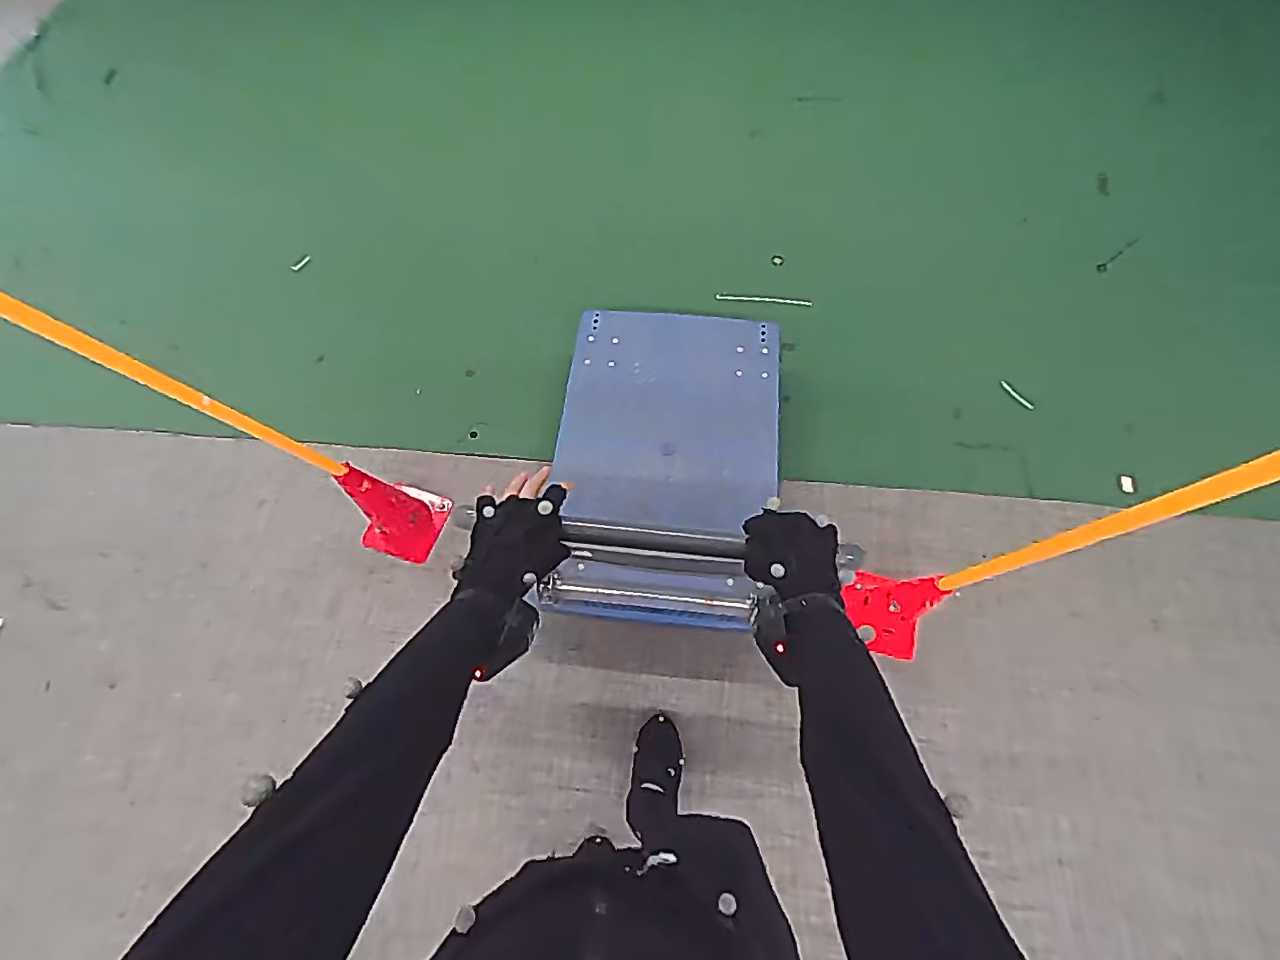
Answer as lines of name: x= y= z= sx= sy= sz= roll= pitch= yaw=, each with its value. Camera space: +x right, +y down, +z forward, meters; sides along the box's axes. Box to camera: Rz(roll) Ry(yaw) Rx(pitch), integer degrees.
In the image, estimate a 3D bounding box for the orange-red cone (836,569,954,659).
orange-red cone: x=0.610 y=0.274 z=1.232 sx=0.198 sy=0.360 sz=0.199 roll=15 pitch=69 yaw=8
